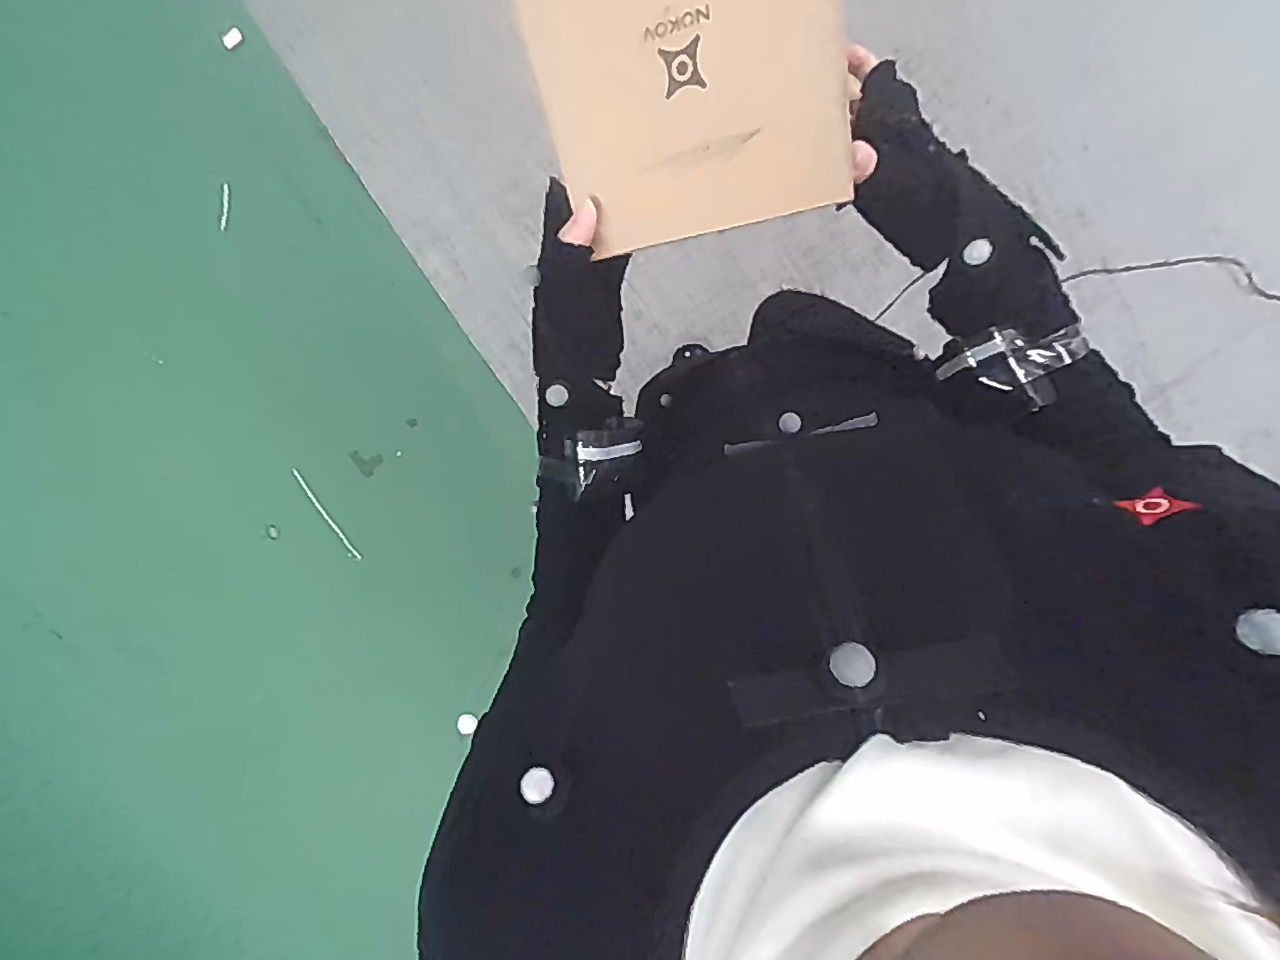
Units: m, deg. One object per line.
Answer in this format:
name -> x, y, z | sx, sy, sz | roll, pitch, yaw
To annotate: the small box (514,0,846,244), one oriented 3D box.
small box -> 0.038, -0.274, 0.349 | 0.168, 0.176, 0.179 | -4, 122, 20
